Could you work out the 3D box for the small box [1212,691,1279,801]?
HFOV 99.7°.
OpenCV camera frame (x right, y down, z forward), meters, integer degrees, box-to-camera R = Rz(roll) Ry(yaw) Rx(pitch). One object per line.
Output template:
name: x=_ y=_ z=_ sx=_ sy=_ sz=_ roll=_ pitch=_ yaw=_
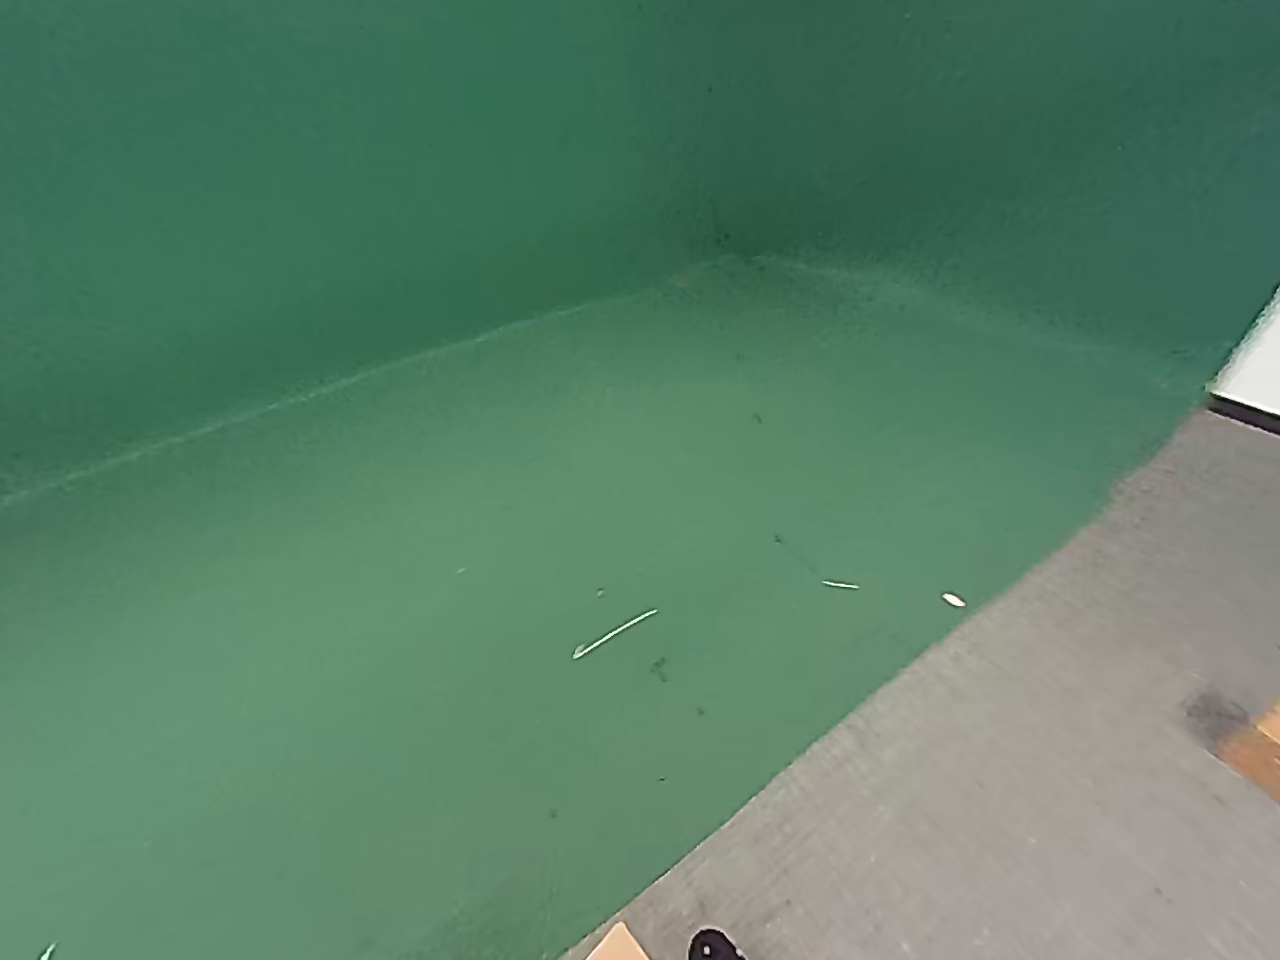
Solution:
small box: x=1.643 y=0.686 z=1.380 sx=0.168 sy=0.176 sz=0.179 roll=-23 pitch=45 yaw=-17
